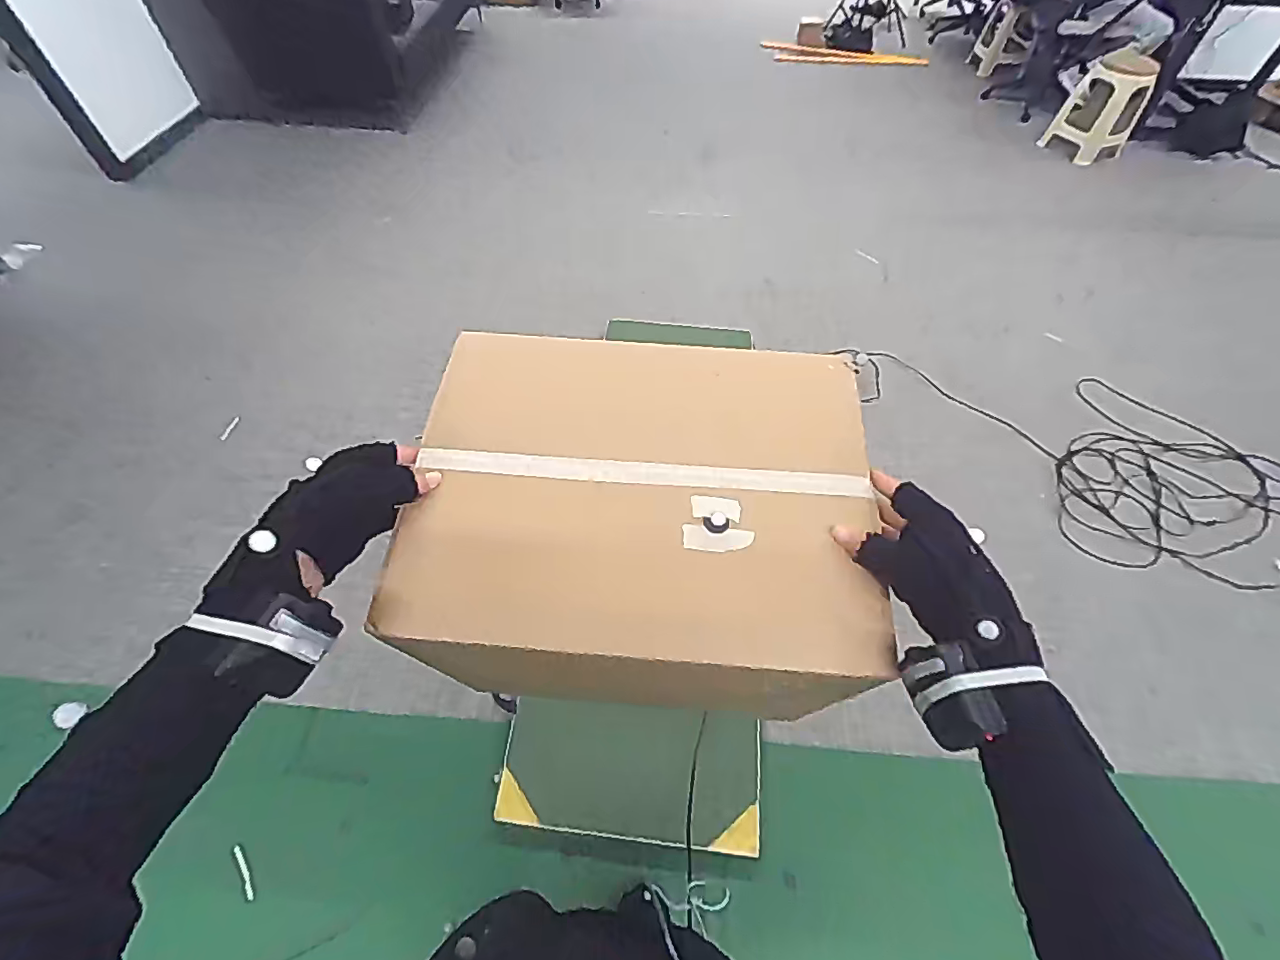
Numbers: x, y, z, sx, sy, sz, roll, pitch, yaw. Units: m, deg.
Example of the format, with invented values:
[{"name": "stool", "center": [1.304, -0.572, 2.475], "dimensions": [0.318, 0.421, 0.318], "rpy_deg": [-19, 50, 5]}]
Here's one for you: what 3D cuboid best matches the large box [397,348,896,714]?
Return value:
[{"name": "large box", "center": [0.009, 0.076, 0.625], "dimensions": [0.408, 0.320, 0.320], "rpy_deg": [4, 61, 1]}]
